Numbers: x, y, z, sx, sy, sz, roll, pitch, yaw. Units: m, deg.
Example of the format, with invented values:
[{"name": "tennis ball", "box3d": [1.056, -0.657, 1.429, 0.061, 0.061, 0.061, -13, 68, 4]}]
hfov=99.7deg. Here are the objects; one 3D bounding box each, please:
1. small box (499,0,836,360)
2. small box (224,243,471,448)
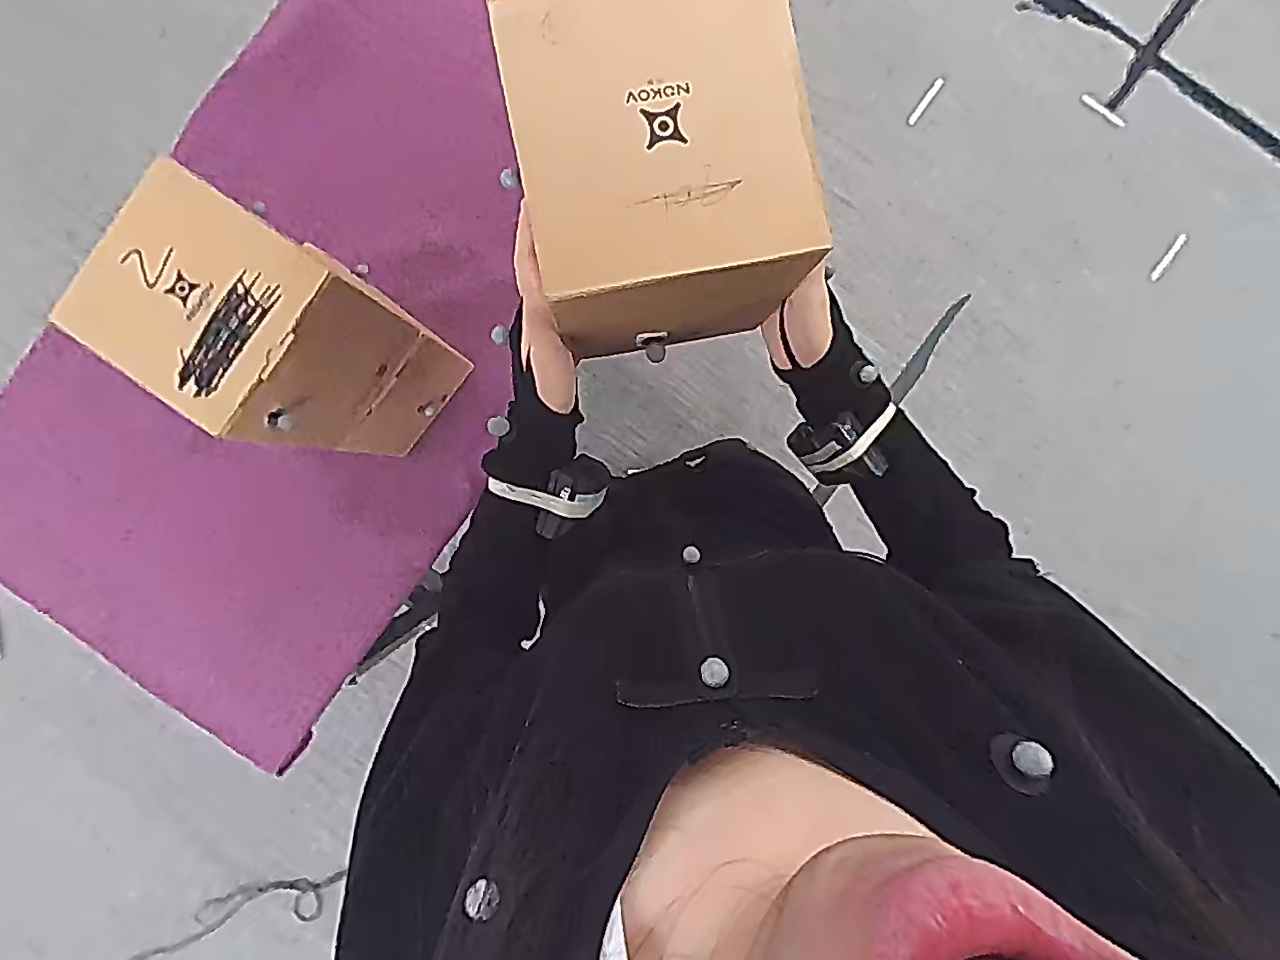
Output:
[{"name": "small box", "box3d": [0.011, -0.199, 0.380, 0.168, 0.176, 0.179, -11, 91, -2]}, {"name": "small box", "box3d": [-0.350, -0.151, 0.684, 0.179, 0.176, 0.168, 38, 91, 0]}]
